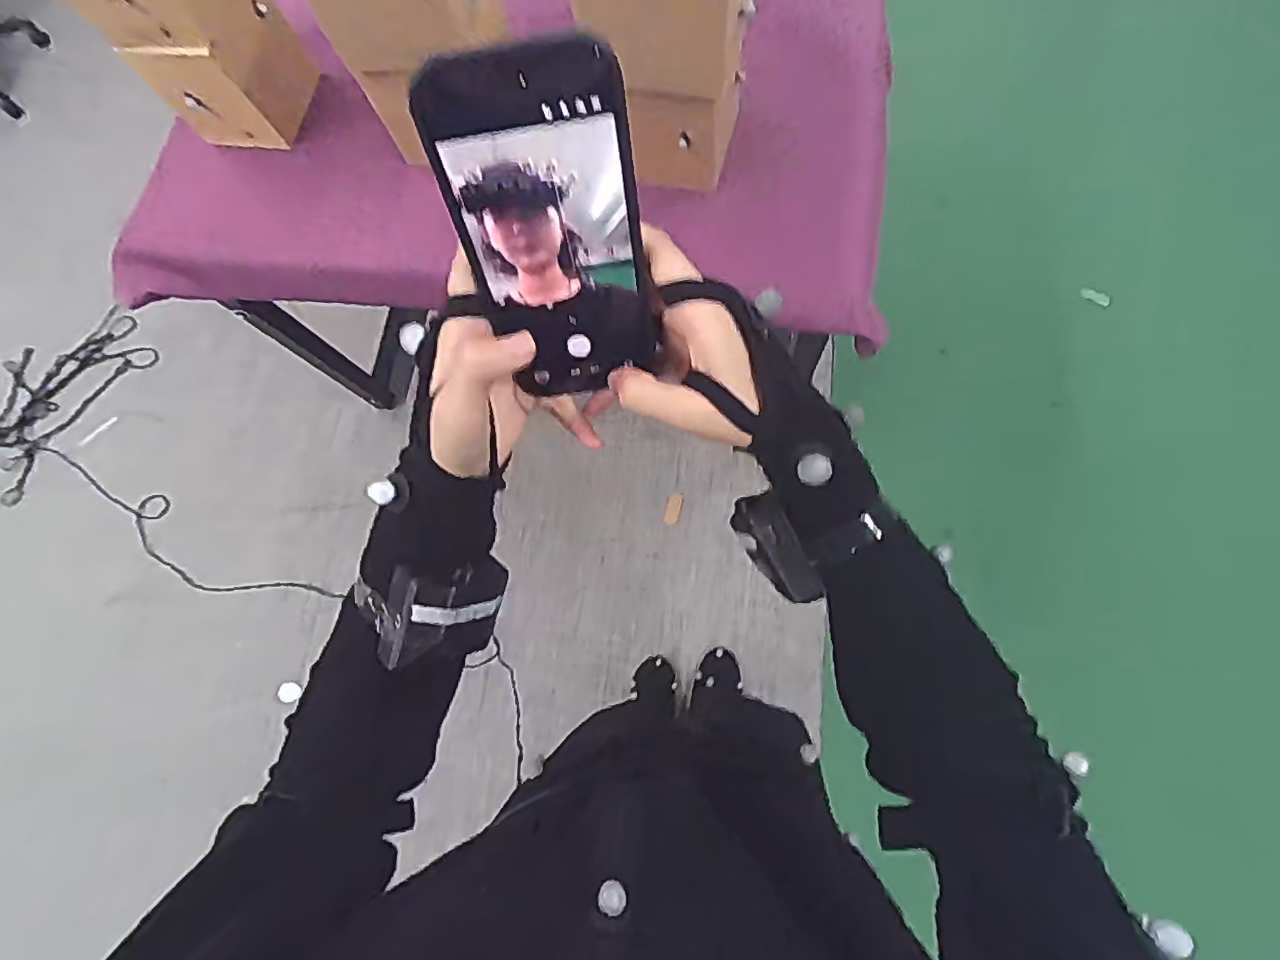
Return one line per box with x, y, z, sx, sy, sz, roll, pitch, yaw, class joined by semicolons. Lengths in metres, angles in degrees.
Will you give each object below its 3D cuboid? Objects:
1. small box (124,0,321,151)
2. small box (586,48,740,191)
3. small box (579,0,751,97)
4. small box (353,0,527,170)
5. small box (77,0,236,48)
-0.668;-0.678;0.890;0.168;0.176;0.179;8;76;9;small box
0.043;-0.548;0.775;0.179;0.176;0.168;14;76;10;small box
0.031;-0.577;0.613;0.179;0.176;0.168;13;76;9;small box
-0.289;-0.607;0.827;0.179;0.176;0.168;8;75;8;small box
-0.685;-0.730;0.735;0.168;0.176;0.179;3;76;7;small box
